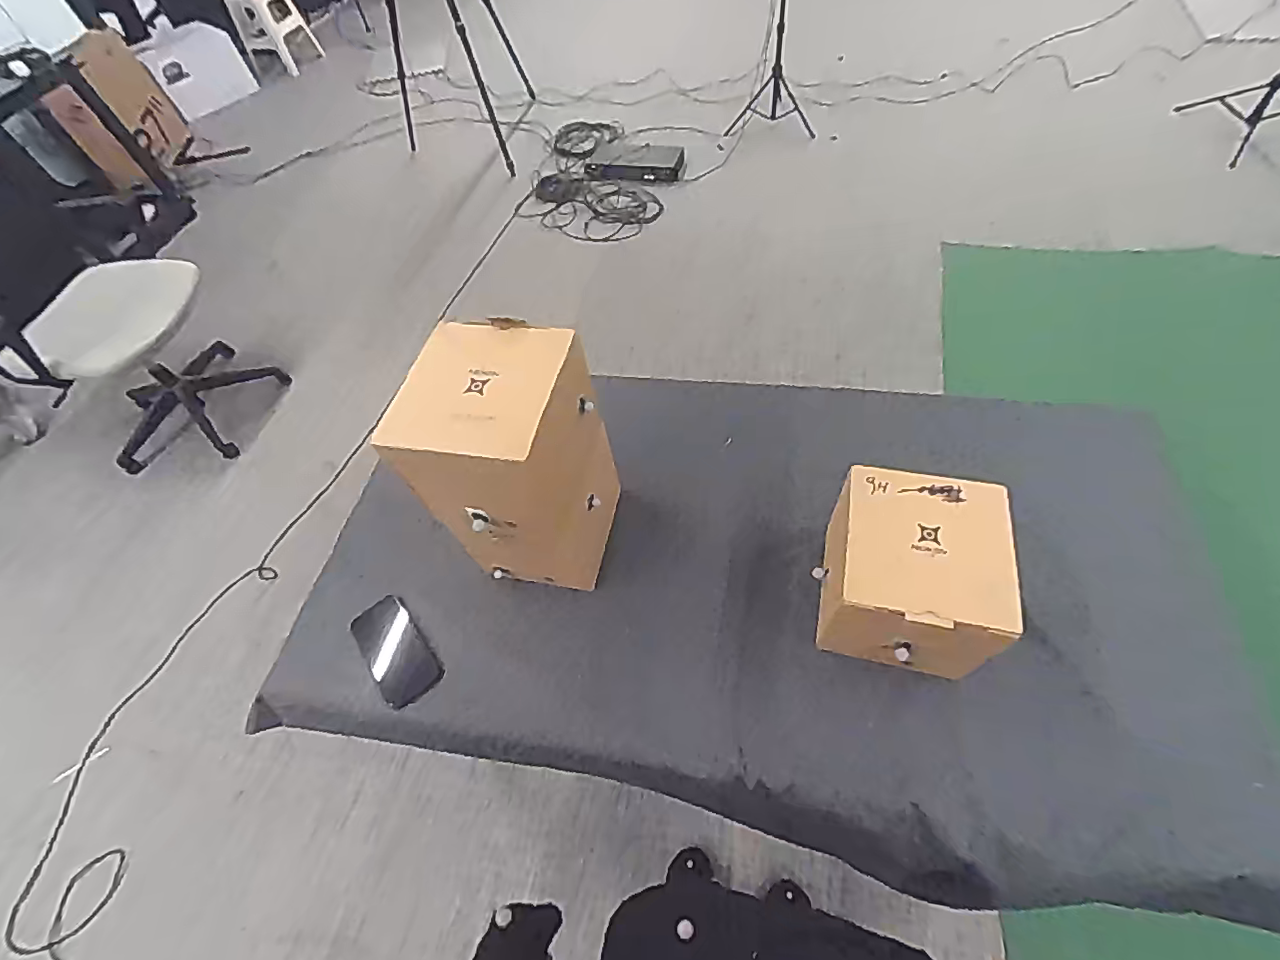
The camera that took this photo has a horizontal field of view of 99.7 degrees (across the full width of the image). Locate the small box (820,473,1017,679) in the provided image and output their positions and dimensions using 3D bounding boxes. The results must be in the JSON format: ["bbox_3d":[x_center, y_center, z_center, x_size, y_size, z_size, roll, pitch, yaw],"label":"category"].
[{"bbox_3d":[0.313,0.117,0.639,0.168,0.176,0.179,9,58,14],"label":"small box"}]

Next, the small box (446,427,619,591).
[{"bbox_3d":[-0.133,0.037,0.753,0.168,0.176,0.179,7,57,12],"label":"small box"}]

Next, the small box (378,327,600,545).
[{"bbox_3d":[-0.151,-0.048,0.616,0.168,0.176,0.179,6,59,12],"label":"small box"}]
